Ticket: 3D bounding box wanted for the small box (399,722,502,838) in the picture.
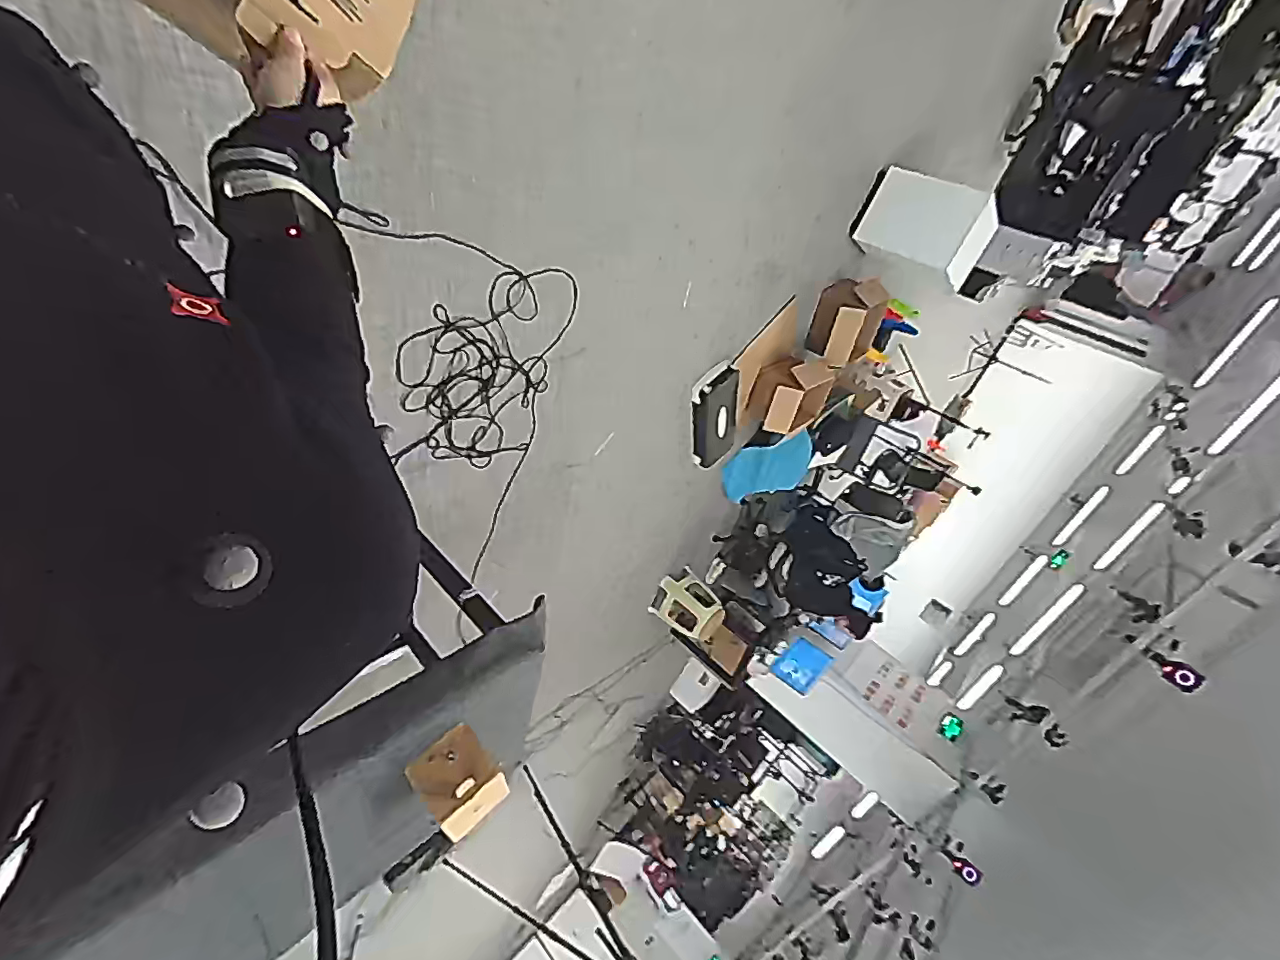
[{"bbox_3d":[-0.466,0.738,1.343,0.168,0.176,0.179,-34,147,-31],"label":"small box"}]
